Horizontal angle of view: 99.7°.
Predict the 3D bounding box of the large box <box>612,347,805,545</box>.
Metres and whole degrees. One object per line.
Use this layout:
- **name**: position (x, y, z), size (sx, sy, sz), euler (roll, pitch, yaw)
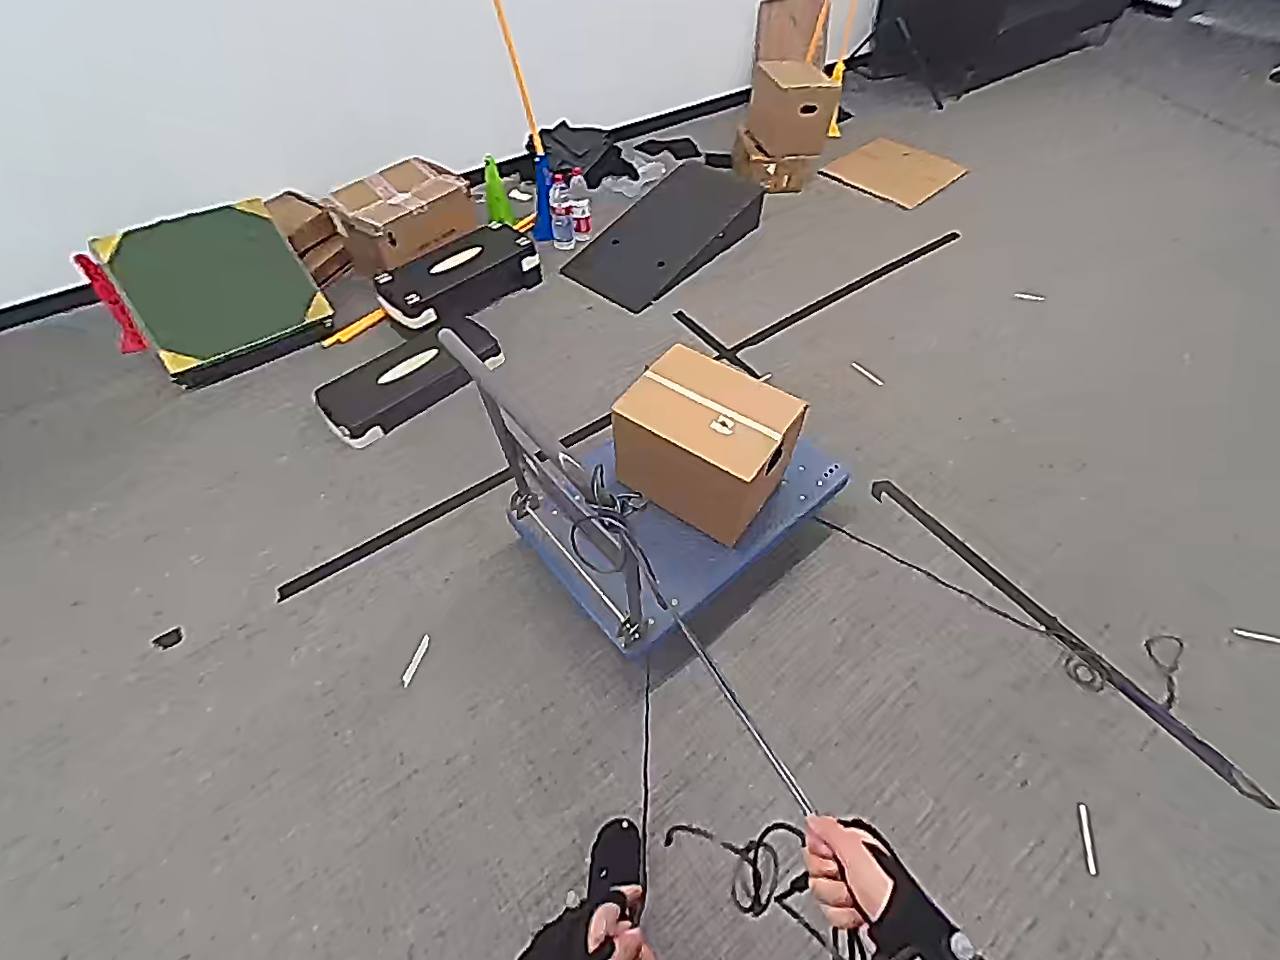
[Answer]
- **large box**: position (0.170, -0.095, 1.486), size (0.408, 0.320, 0.320), euler (30, 60, 20)
